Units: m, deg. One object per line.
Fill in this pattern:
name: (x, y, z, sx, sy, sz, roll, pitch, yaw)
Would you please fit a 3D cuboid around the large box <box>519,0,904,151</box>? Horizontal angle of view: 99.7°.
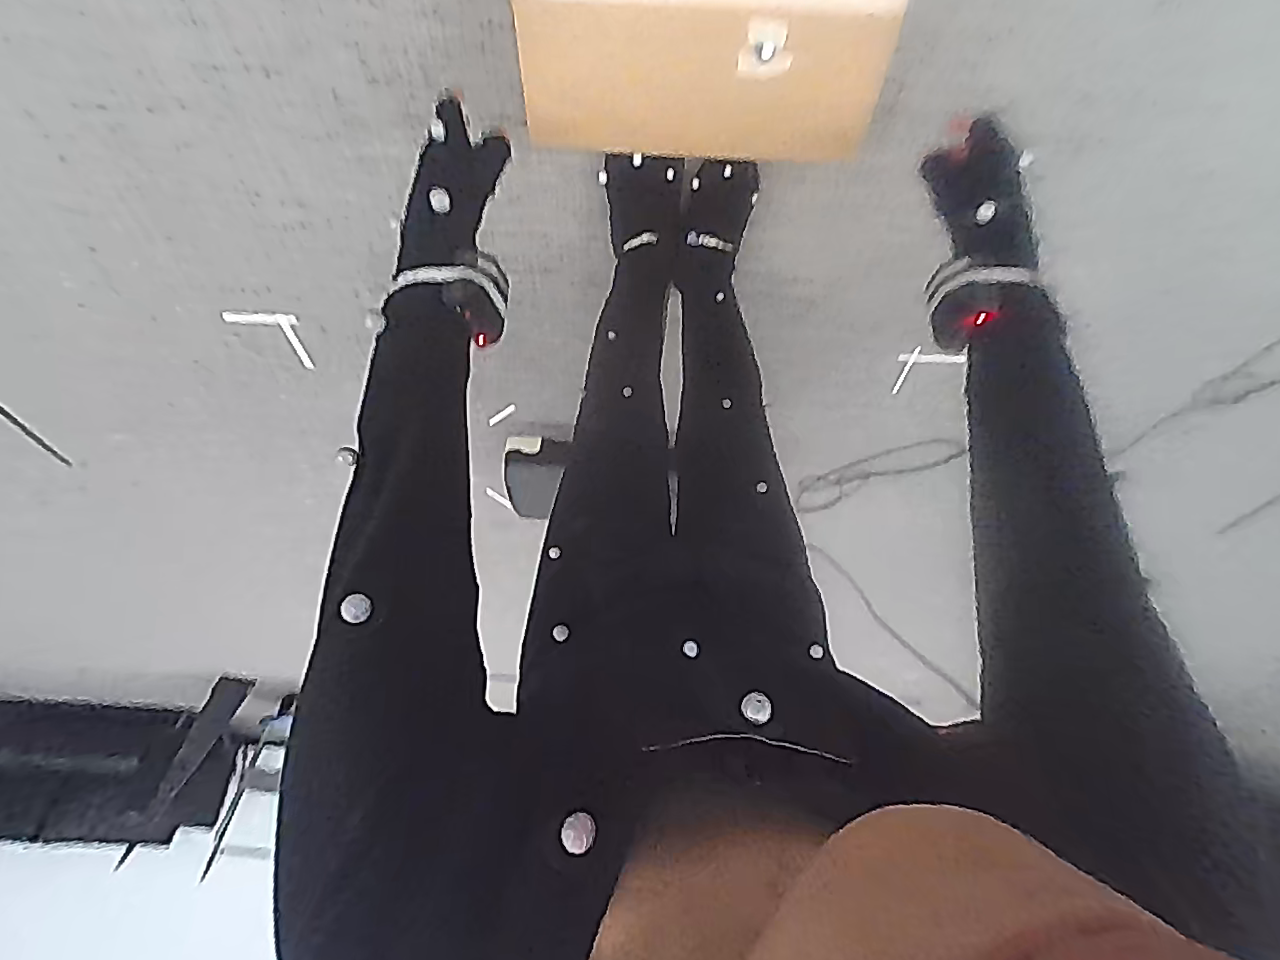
large box: (0.074, -0.618, 0.636, 0.408, 0.320, 0.320, 2, 142, -1)
